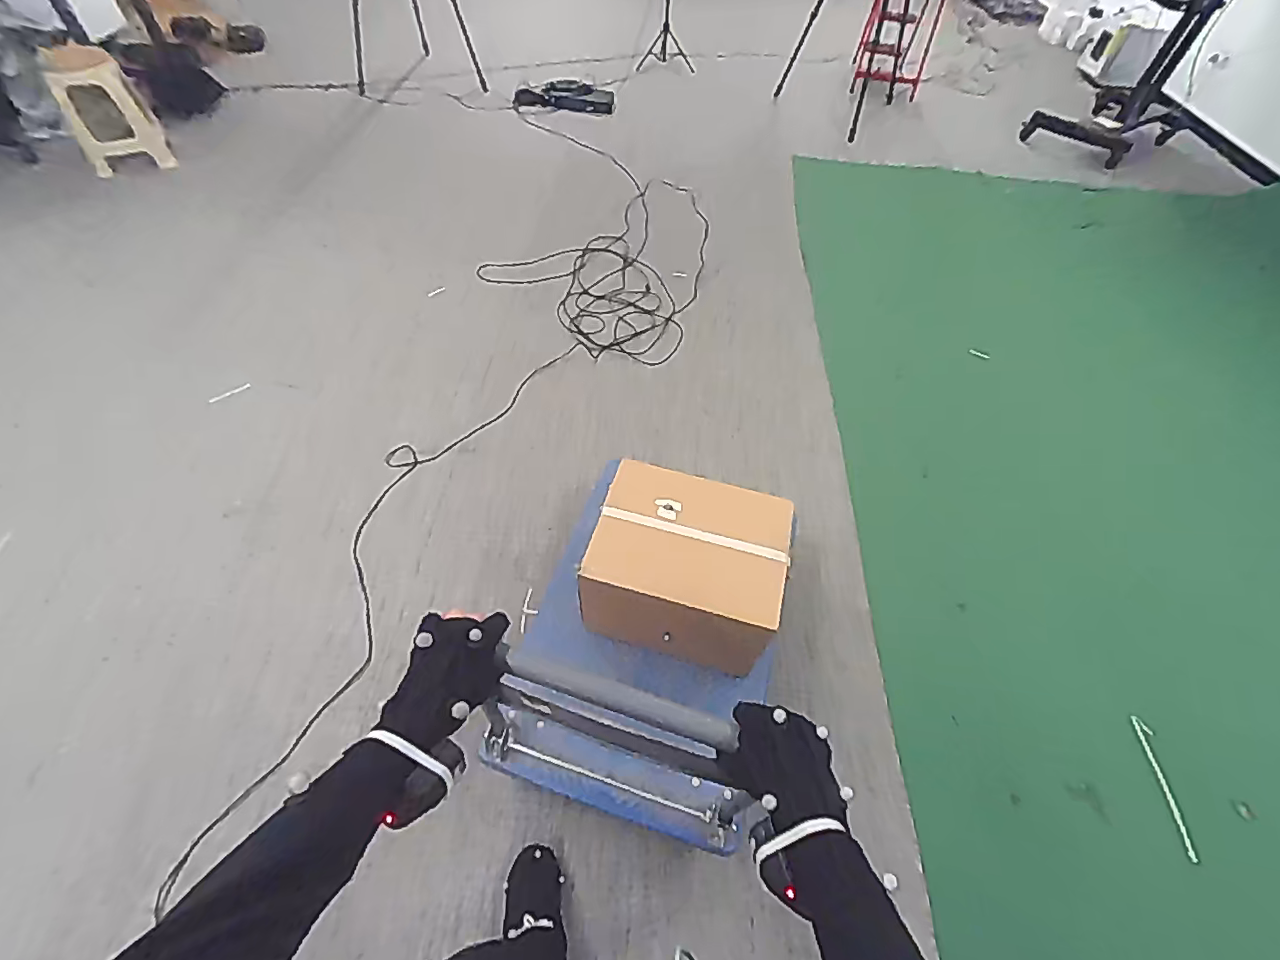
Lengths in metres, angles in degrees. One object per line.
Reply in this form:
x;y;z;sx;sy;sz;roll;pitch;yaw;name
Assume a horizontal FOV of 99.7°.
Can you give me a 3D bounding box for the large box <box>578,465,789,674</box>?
0.101;0.215;1.262;0.408;0.320;0.320;14;53;8;large box
